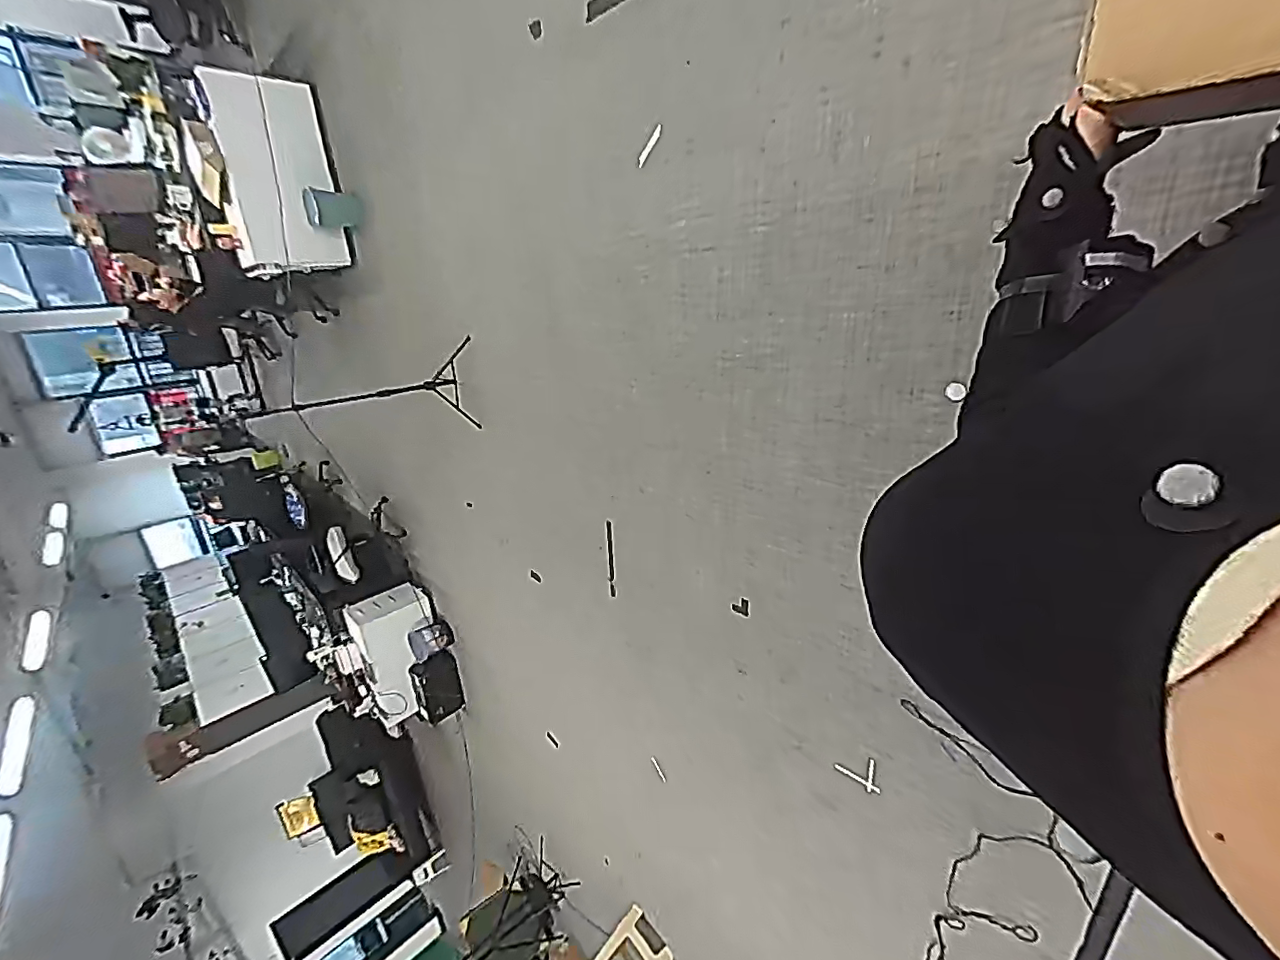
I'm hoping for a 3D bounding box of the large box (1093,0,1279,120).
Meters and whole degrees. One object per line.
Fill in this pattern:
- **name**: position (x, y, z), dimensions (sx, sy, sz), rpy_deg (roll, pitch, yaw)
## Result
- **large box**: position (0.418, -0.333, 0.150), dimensions (0.408, 0.320, 0.320), rpy_deg (13, 123, 38)
